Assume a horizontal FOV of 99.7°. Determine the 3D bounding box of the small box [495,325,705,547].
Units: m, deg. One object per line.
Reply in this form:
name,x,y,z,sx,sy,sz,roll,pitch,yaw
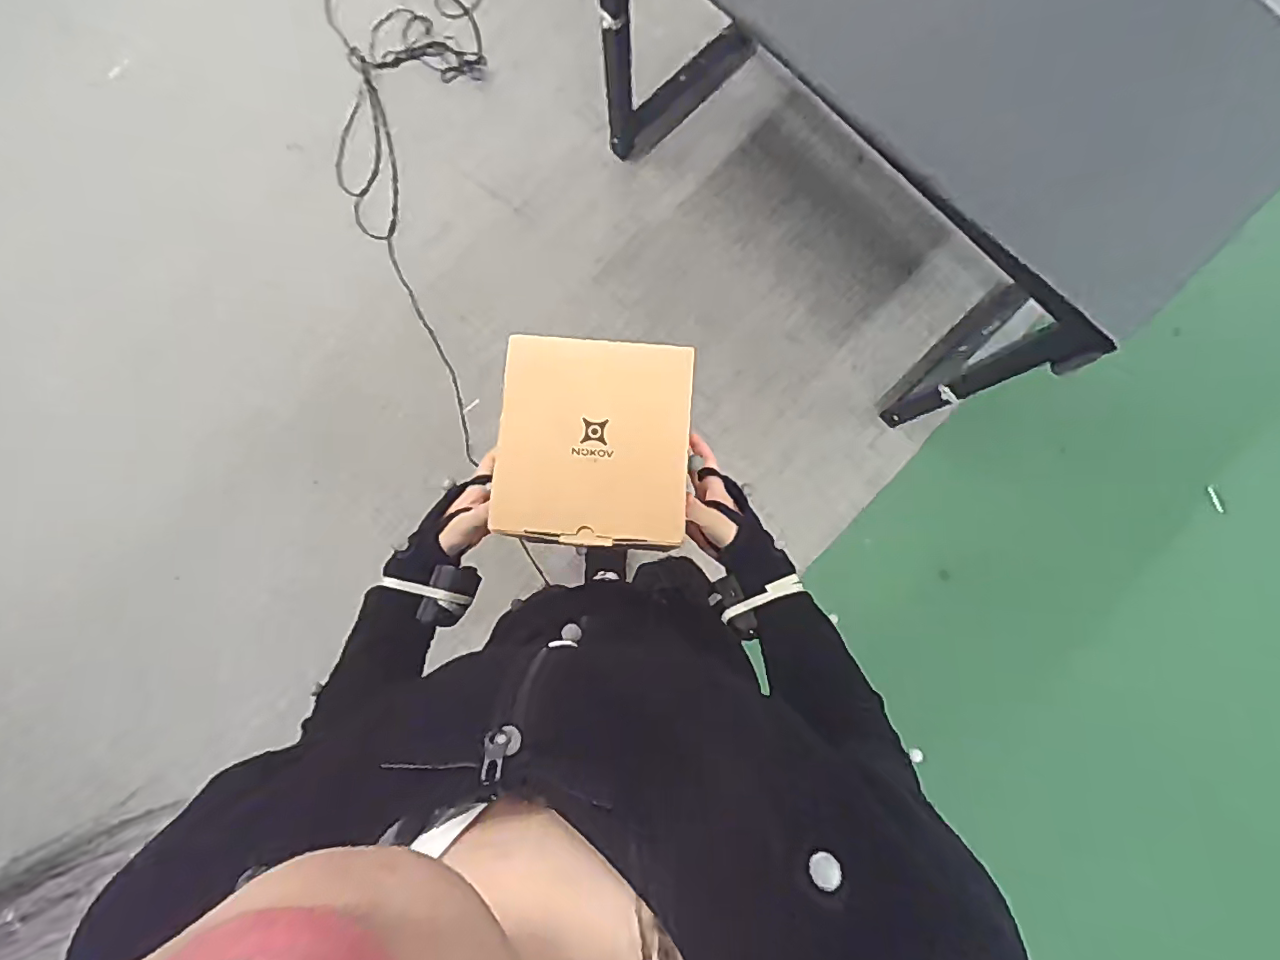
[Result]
small box,-0.035,-0.029,0.531,0.168,0.176,0.179,4,82,-2
